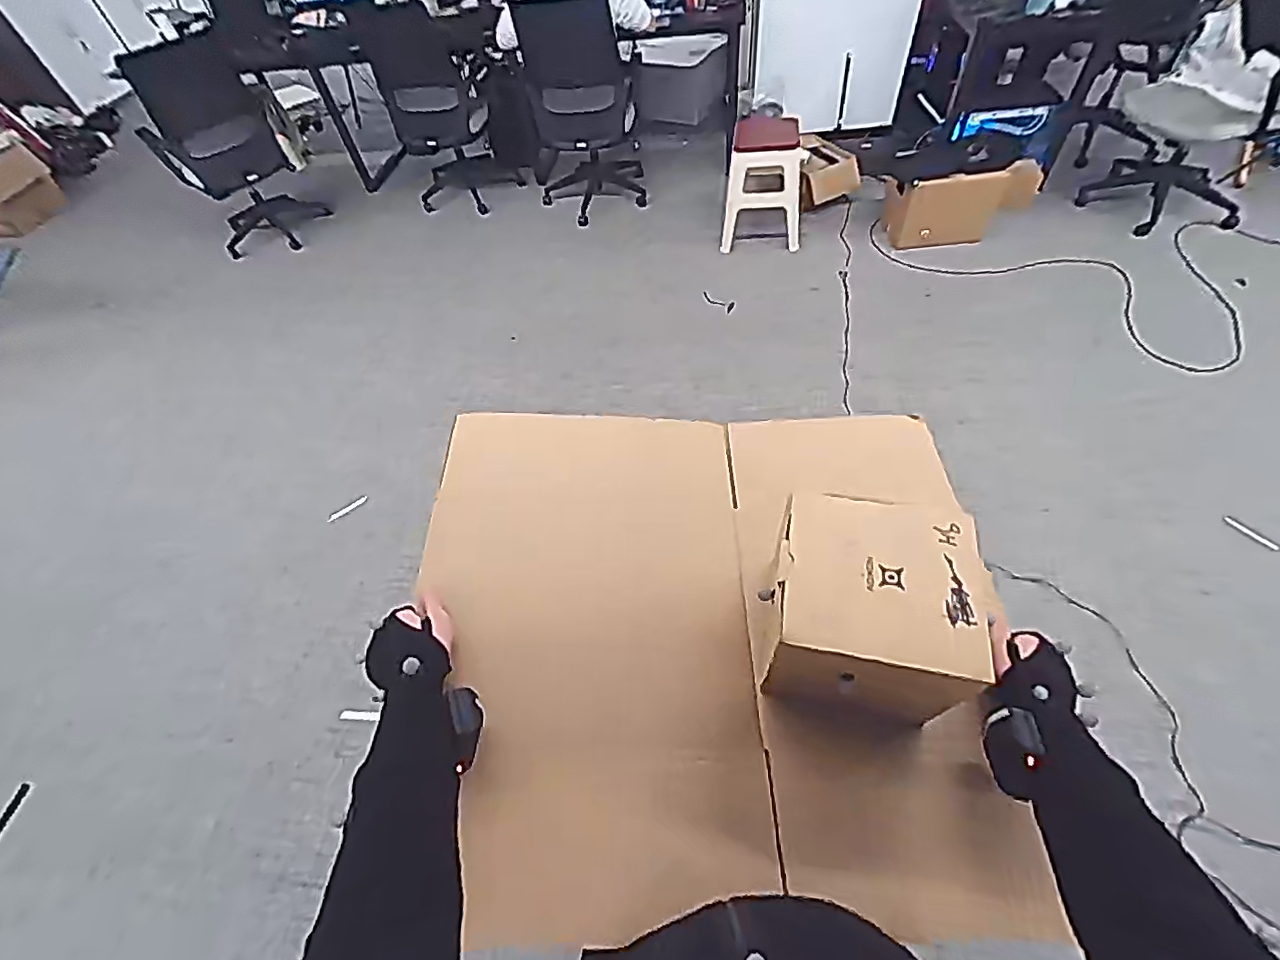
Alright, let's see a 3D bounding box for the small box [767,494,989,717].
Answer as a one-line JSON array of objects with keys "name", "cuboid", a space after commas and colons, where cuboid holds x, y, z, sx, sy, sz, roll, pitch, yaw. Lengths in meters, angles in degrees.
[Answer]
[{"name": "small box", "cuboid": [0.235, 0.137, 0.576, 0.179, 0.176, 0.168, 8, 56, 12]}]
